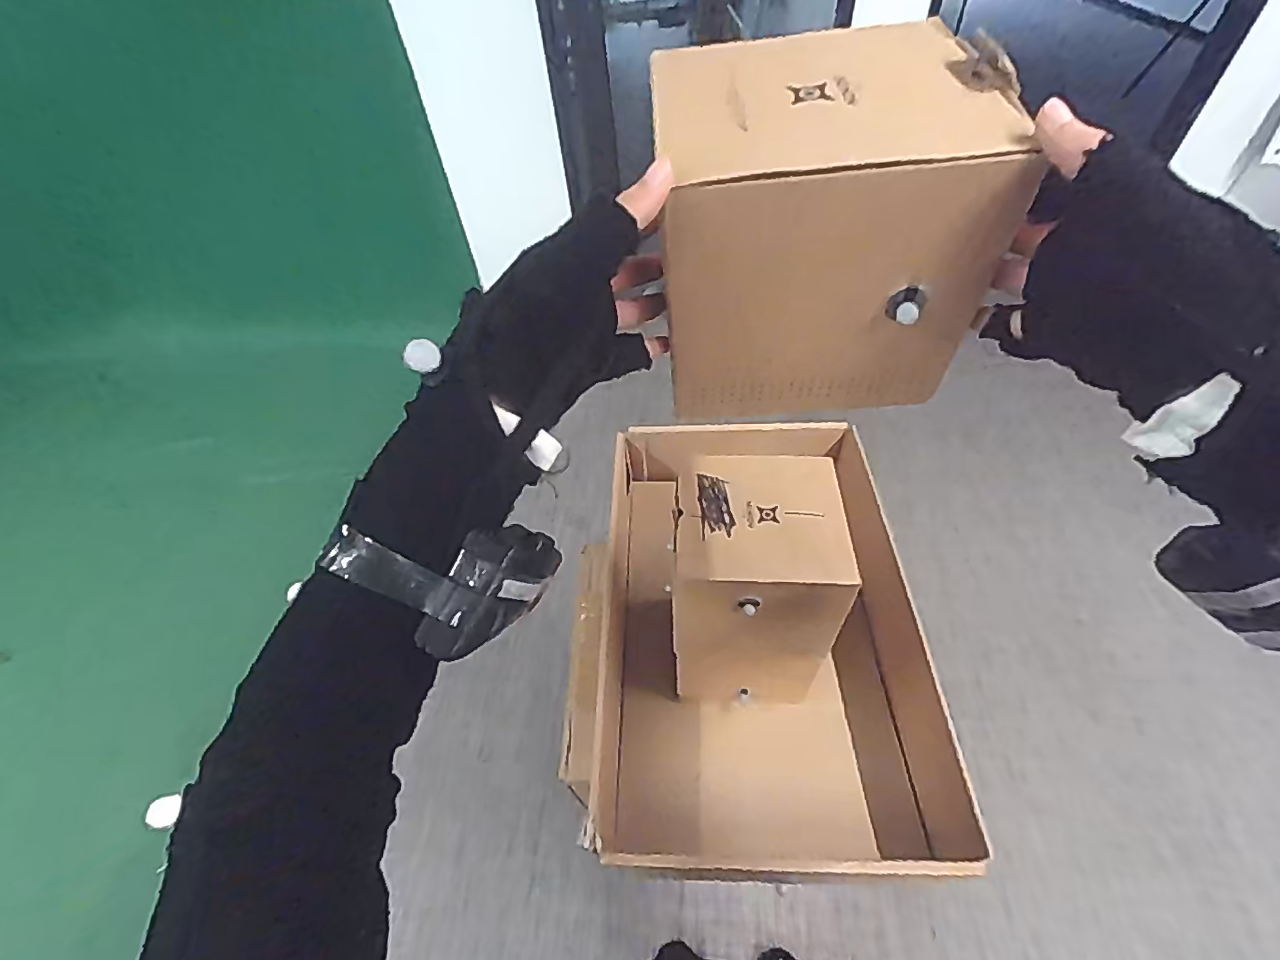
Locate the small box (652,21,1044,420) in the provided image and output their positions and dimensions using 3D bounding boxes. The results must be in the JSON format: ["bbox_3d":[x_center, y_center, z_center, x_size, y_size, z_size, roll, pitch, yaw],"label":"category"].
[{"bbox_3d":[0.102,-0.157,0.354,0.179,0.176,0.168,-4,55,5],"label":"small box"}]

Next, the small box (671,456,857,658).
[{"bbox_3d":[0.127,0.090,0.618,0.179,0.176,0.168,2,48,5],"label":"small box"}]

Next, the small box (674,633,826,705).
[{"bbox_3d":[0.137,0.196,0.743,0.179,0.176,0.168,0,47,3],"label":"small box"}]
